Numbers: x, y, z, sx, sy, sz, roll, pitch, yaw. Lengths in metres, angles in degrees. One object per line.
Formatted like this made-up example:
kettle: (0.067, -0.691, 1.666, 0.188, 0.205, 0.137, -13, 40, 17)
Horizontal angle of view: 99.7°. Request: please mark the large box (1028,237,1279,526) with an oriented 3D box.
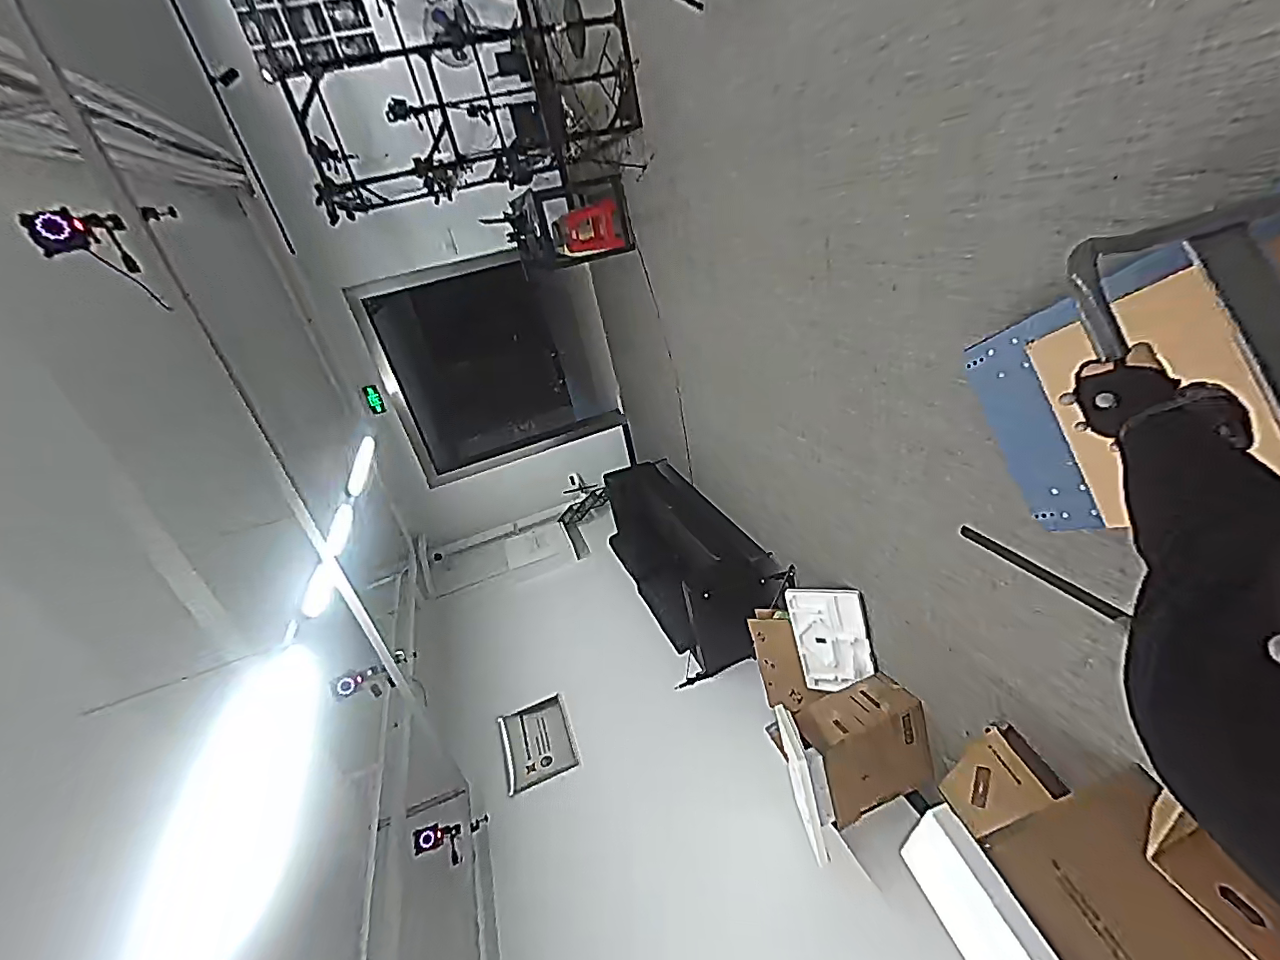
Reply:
large box: (1.026, -0.162, 0.970, 0.320, 0.320, 0.408, 136, 115, -77)
